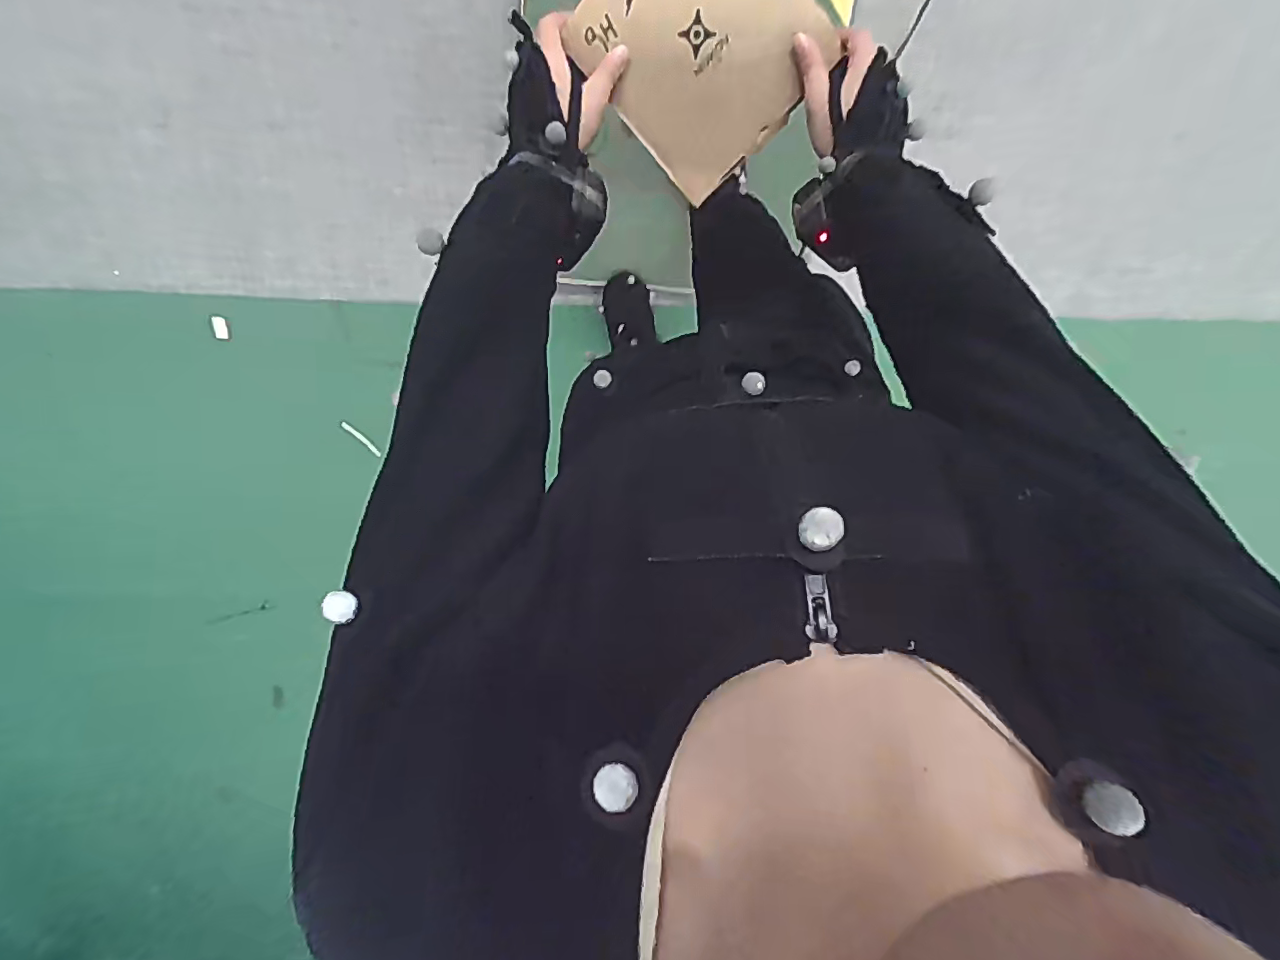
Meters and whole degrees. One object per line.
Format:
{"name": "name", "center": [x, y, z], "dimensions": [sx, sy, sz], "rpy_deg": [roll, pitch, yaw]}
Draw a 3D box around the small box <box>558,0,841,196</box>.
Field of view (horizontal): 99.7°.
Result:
{"name": "small box", "center": [0.049, -0.407, 0.502], "dimensions": [0.168, 0.176, 0.179], "rpy_deg": [-39, 117, 23]}
